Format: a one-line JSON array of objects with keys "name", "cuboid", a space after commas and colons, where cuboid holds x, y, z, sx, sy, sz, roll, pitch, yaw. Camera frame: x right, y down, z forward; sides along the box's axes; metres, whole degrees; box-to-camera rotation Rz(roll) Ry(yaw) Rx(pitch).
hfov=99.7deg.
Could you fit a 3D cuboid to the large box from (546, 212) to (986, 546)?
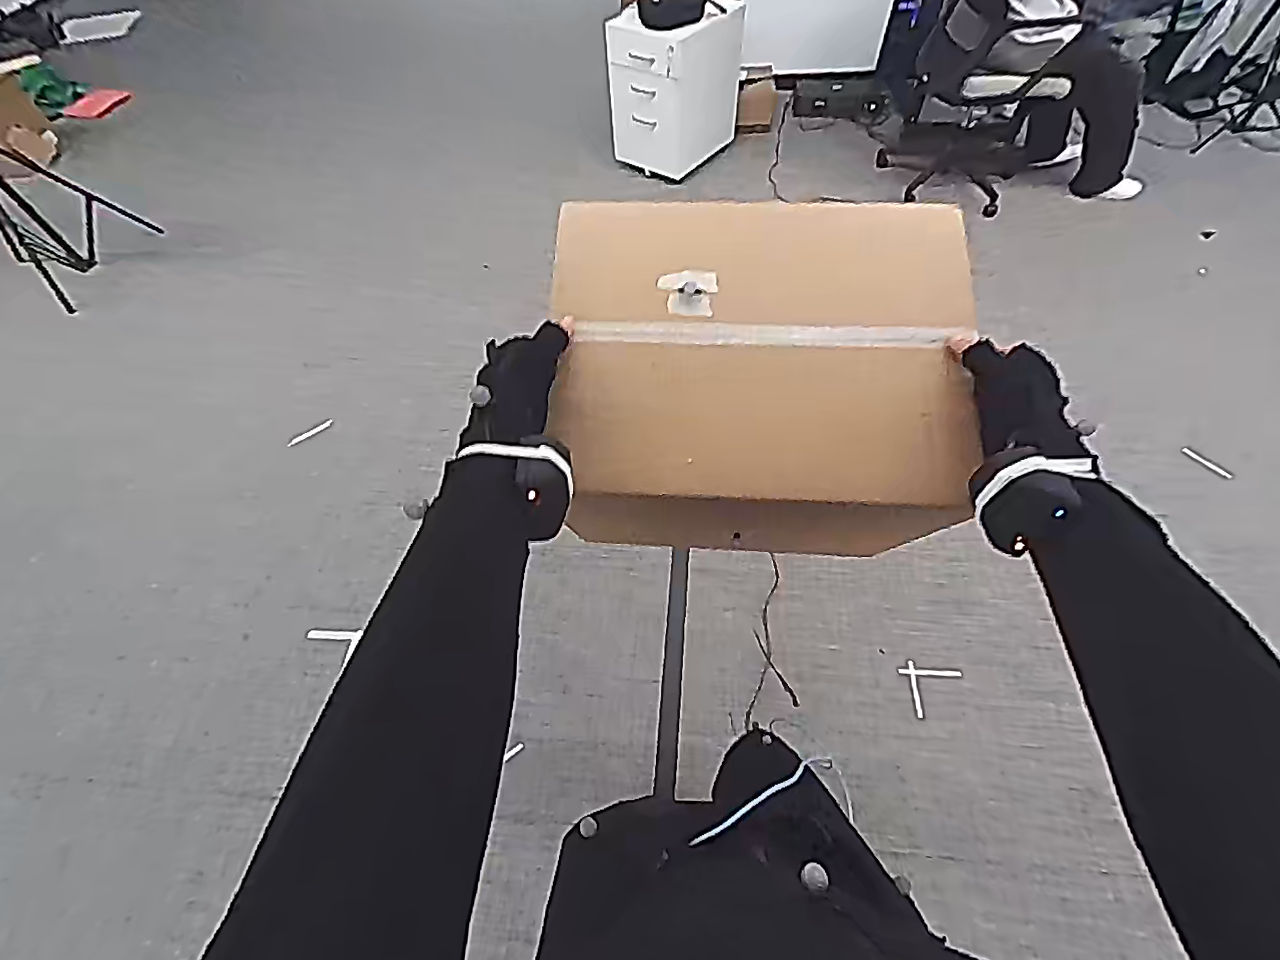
[{"name": "large box", "cuboid": [0.128, -0.094, 0.672, 0.408, 0.320, 0.320, 3, 74, 5]}]
